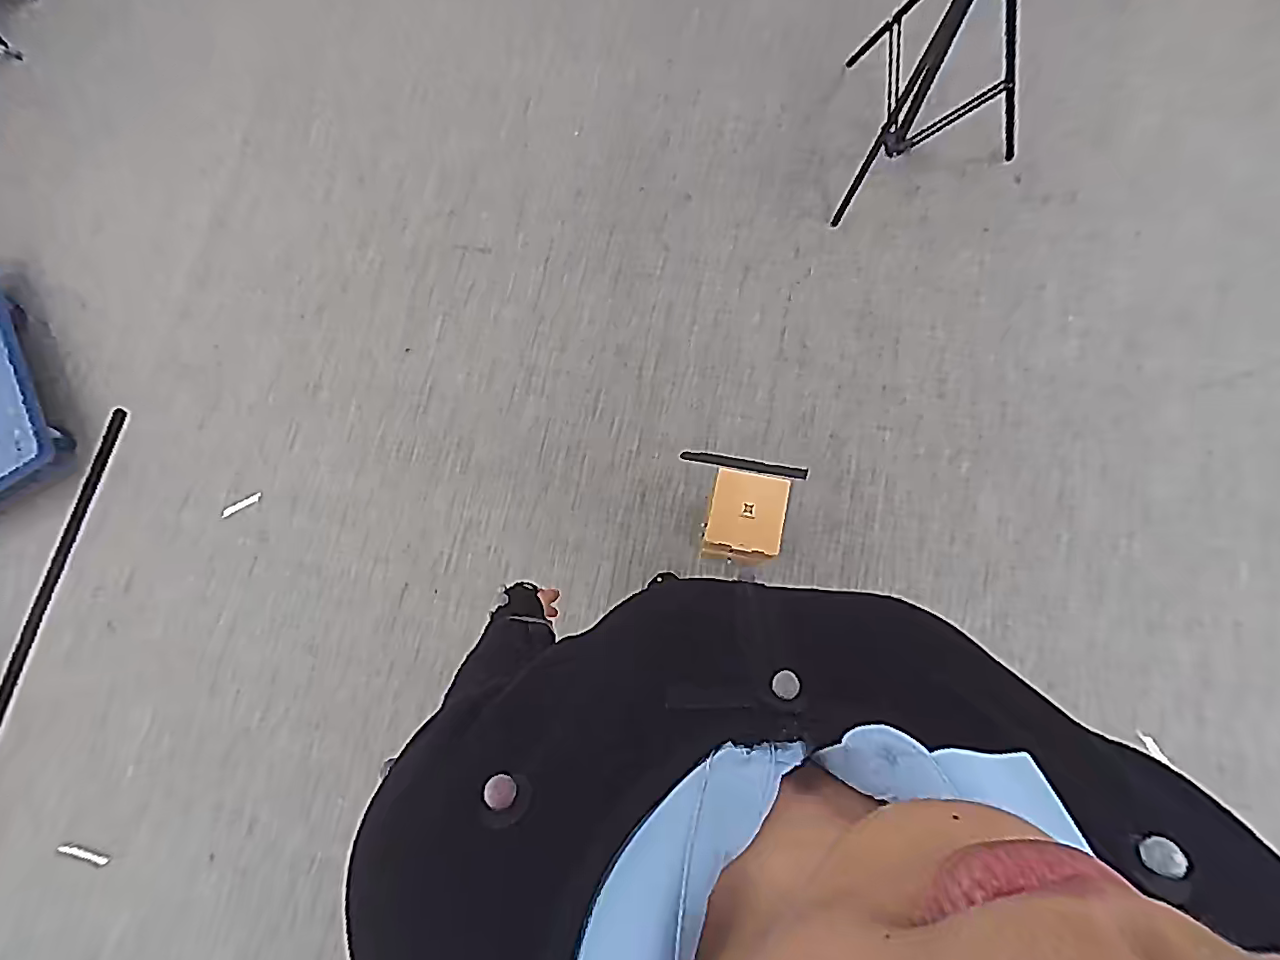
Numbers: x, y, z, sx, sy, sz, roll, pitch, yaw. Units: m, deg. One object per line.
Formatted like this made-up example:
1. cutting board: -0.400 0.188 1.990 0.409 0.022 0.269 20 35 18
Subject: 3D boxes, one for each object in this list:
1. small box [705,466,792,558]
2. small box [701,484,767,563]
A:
1. small box: 0.250 0.081 1.282 0.168 0.176 0.179 11 80 7
2. small box: 0.257 0.121 1.440 0.168 0.176 0.179 9 79 6
